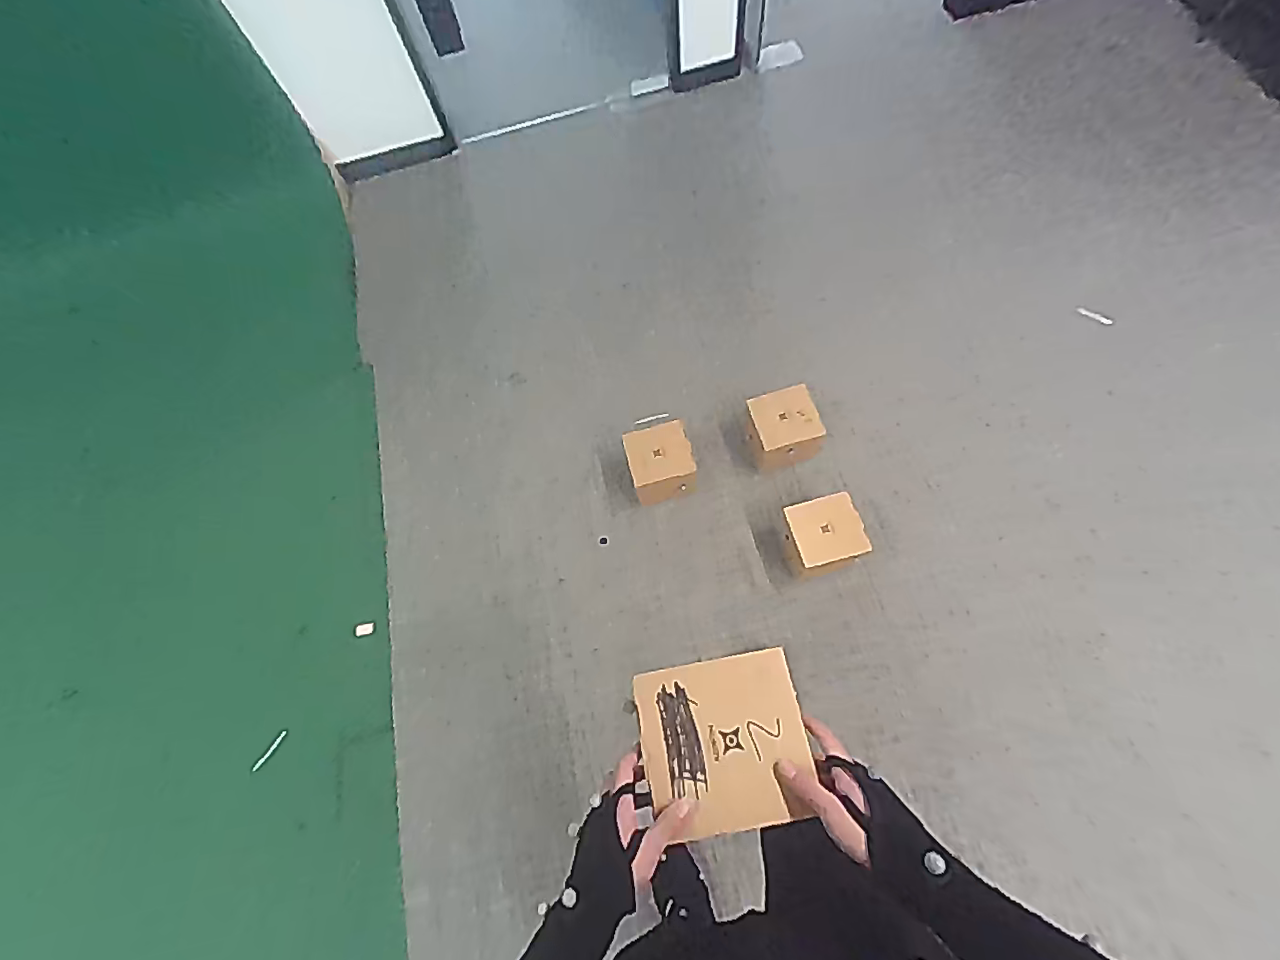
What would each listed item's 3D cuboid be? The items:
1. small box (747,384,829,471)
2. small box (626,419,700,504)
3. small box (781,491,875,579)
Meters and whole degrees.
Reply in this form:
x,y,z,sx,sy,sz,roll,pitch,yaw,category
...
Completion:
x,y,z,sx,sy,sz,roll,pitch,yaw,category
0.412,-0.143,1.544,0.179,0.176,0.168,-15,68,0,small box
0.067,-0.048,1.544,0.179,0.176,0.168,-14,67,1,small box
0.481,0.151,1.425,0.179,0.176,0.168,-15,68,-1,small box
